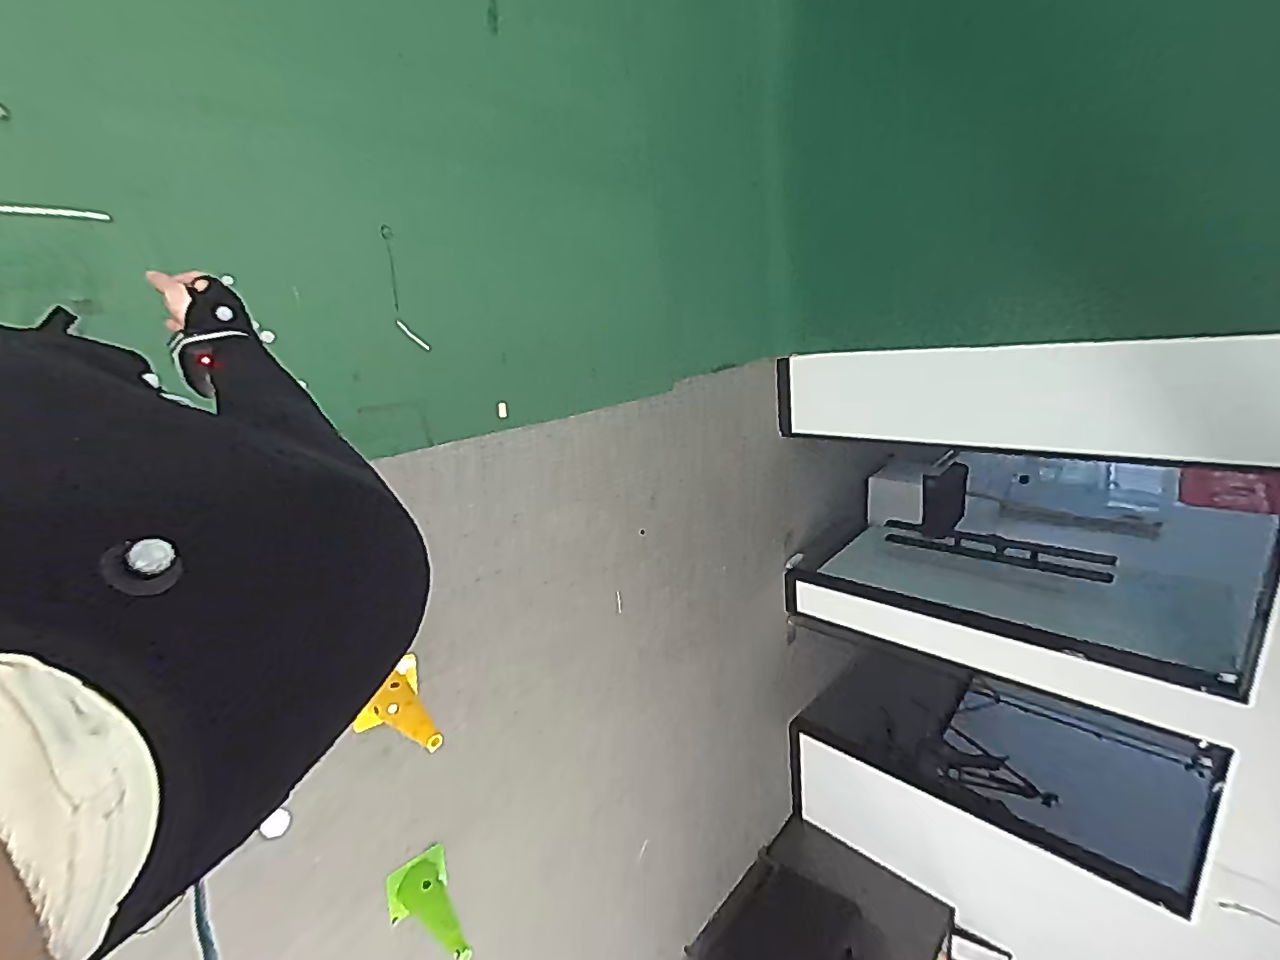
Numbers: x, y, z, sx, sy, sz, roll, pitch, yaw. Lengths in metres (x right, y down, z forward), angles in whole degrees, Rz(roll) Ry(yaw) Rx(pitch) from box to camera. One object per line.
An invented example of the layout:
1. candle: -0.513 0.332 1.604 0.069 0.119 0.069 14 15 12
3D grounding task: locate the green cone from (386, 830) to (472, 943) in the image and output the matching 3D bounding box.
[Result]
1. green cone: -0.658 1.386 1.785 0.200 0.368 0.202 -14 107 -44
